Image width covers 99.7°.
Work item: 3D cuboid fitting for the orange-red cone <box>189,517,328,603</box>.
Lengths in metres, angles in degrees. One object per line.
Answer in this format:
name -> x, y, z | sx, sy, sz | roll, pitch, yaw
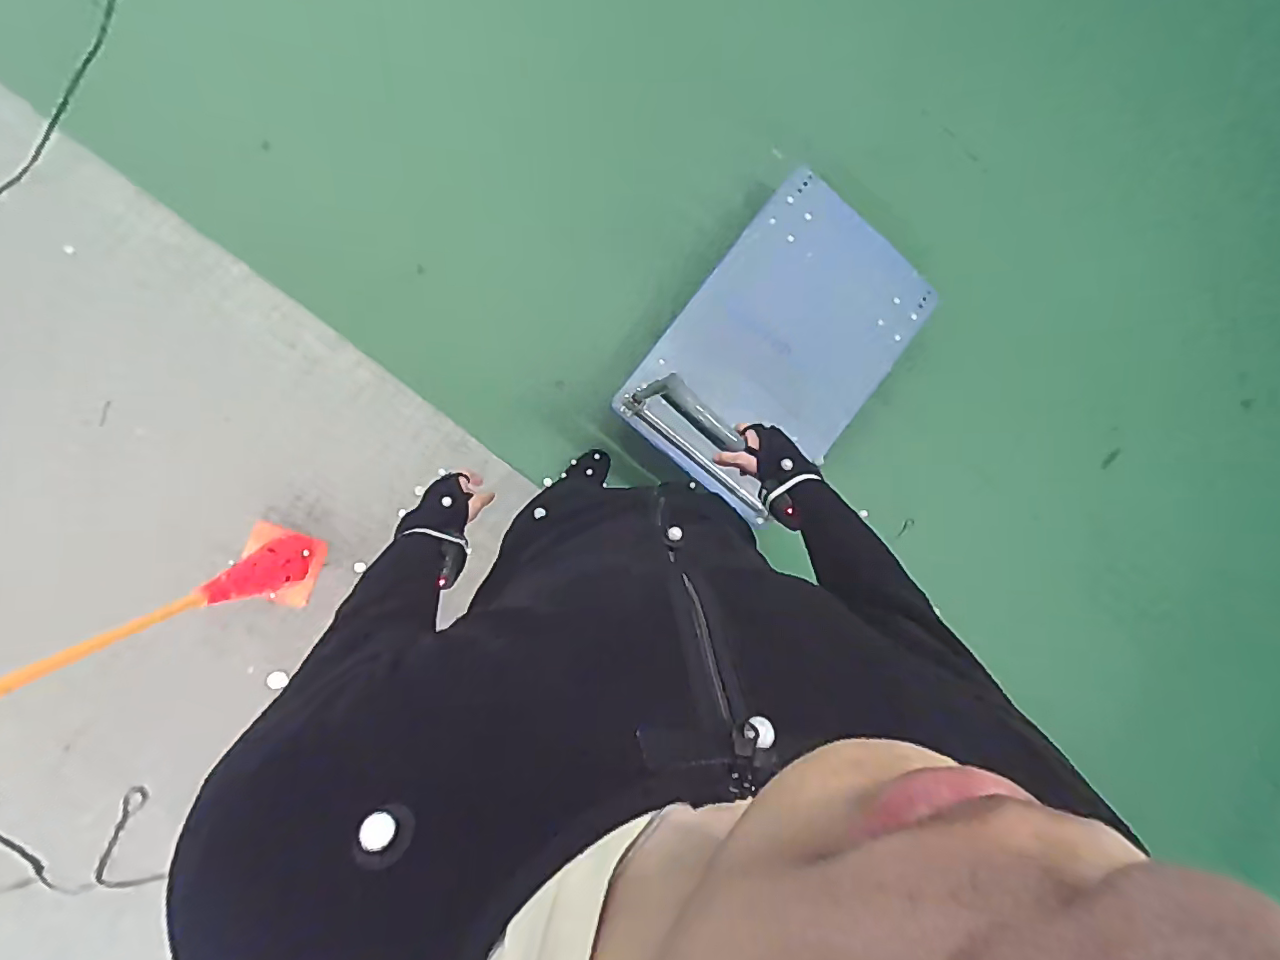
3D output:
orange-red cone -> -0.969, 0.230, 1.327 | 0.199, 0.360, 0.198 | 23, 89, -8
